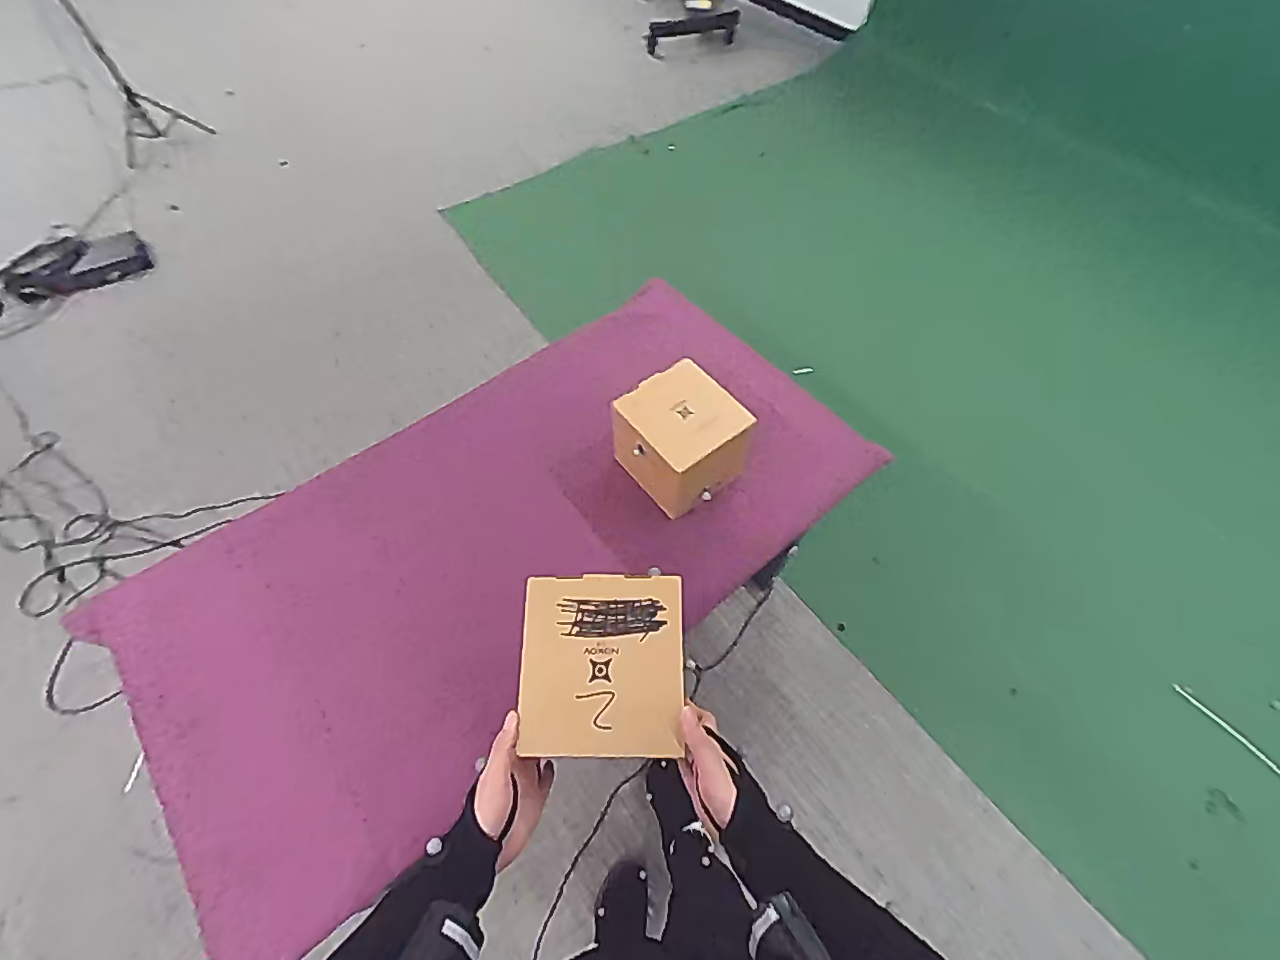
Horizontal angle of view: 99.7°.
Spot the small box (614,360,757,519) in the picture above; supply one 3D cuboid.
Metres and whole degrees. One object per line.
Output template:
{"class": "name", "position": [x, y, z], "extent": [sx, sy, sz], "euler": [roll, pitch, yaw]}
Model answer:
{"class": "small box", "position": [0.072, -0.066, 0.934], "extent": [0.168, 0.176, 0.179], "euler": [-33, 64, -17]}
